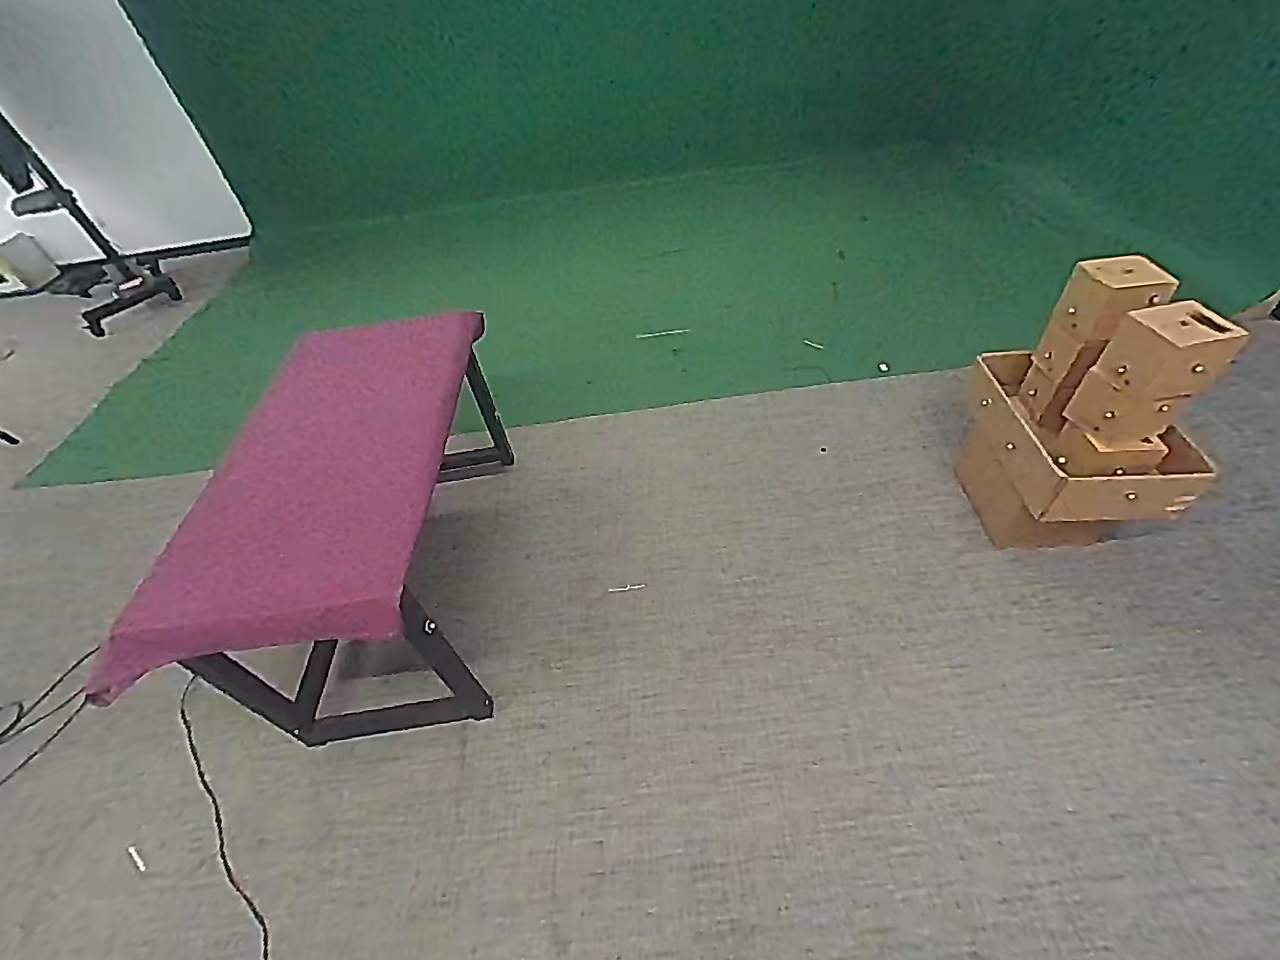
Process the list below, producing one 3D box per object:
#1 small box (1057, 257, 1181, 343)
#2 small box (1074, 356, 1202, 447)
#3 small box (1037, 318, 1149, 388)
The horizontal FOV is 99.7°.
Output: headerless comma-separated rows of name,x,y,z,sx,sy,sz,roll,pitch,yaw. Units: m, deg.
small box,1.356,-0.512,1.546,0.179,0.176,0.168,-5,45,5
small box,1.345,-0.211,1.482,0.179,0.176,0.168,-15,46,-6
small box,1.382,-0.401,1.664,0.179,0.176,0.168,-5,45,5
